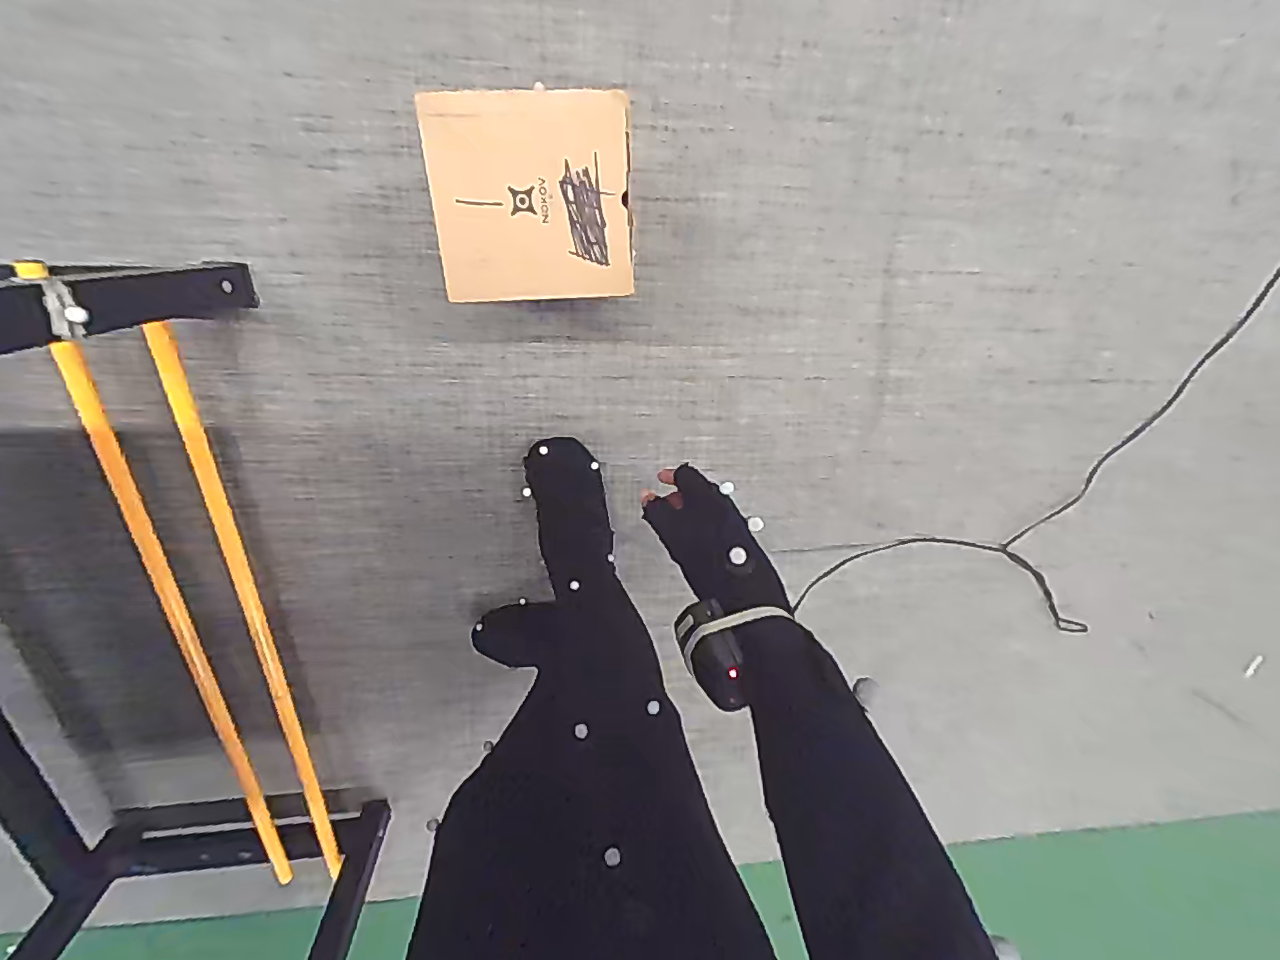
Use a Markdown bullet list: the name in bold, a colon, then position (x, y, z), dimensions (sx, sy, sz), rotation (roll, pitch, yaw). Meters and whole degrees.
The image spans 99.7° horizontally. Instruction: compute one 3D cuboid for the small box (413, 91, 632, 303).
- **small box**: position (-0.103, -0.276, 0.545), dimensions (0.179, 0.176, 0.168), rotation (-3, 115, -4)
